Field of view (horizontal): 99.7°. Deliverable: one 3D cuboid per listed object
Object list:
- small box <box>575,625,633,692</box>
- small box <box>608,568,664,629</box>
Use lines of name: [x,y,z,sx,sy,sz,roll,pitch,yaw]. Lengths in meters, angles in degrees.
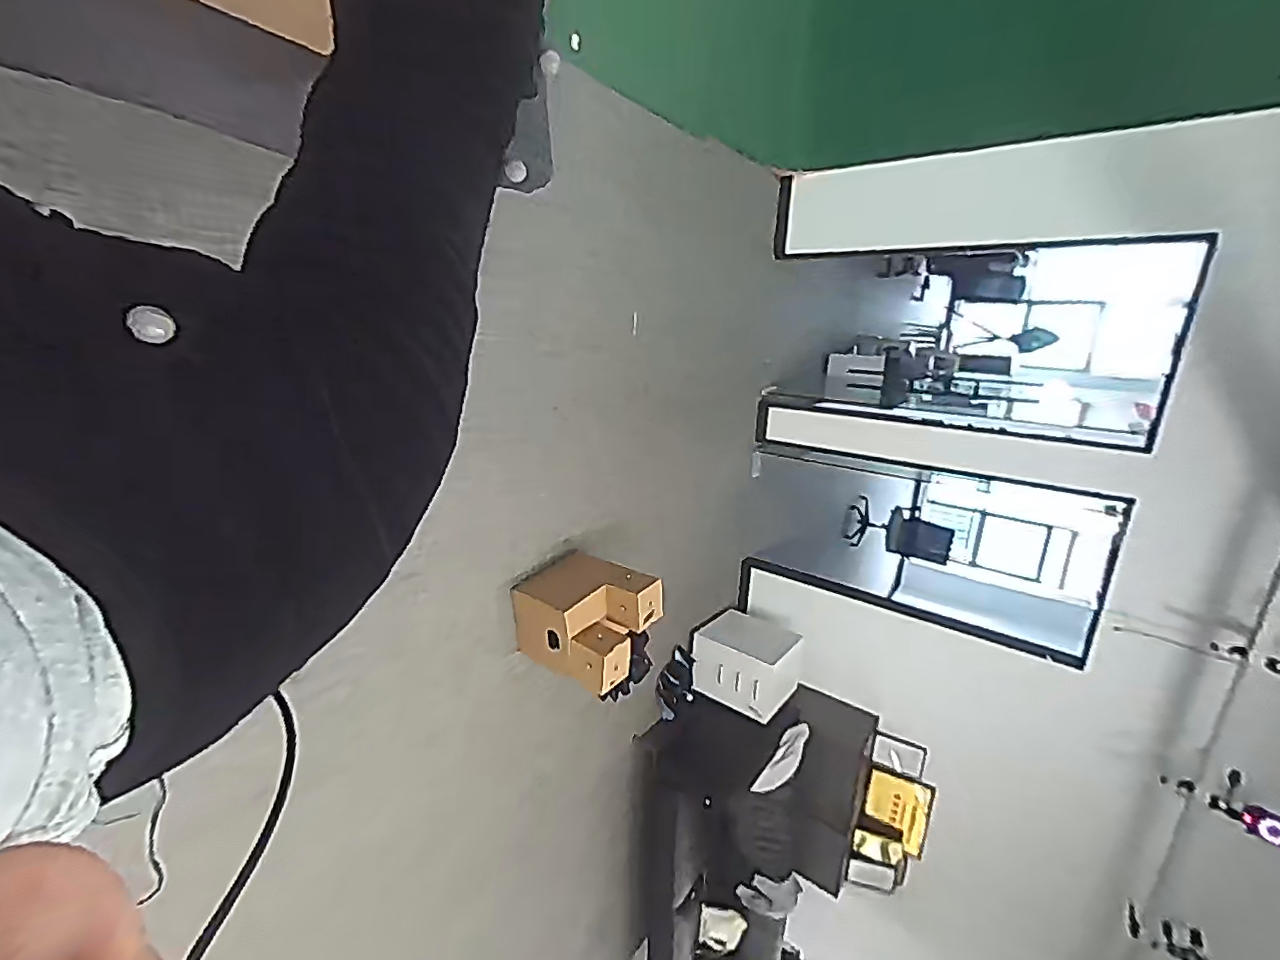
small box: [-0.143,0.688,2.117,0.168,0.176,0.179,-21,118,-52]
small box: [-0.018,0.486,2.239,0.168,0.176,0.179,-24,116,-51]
